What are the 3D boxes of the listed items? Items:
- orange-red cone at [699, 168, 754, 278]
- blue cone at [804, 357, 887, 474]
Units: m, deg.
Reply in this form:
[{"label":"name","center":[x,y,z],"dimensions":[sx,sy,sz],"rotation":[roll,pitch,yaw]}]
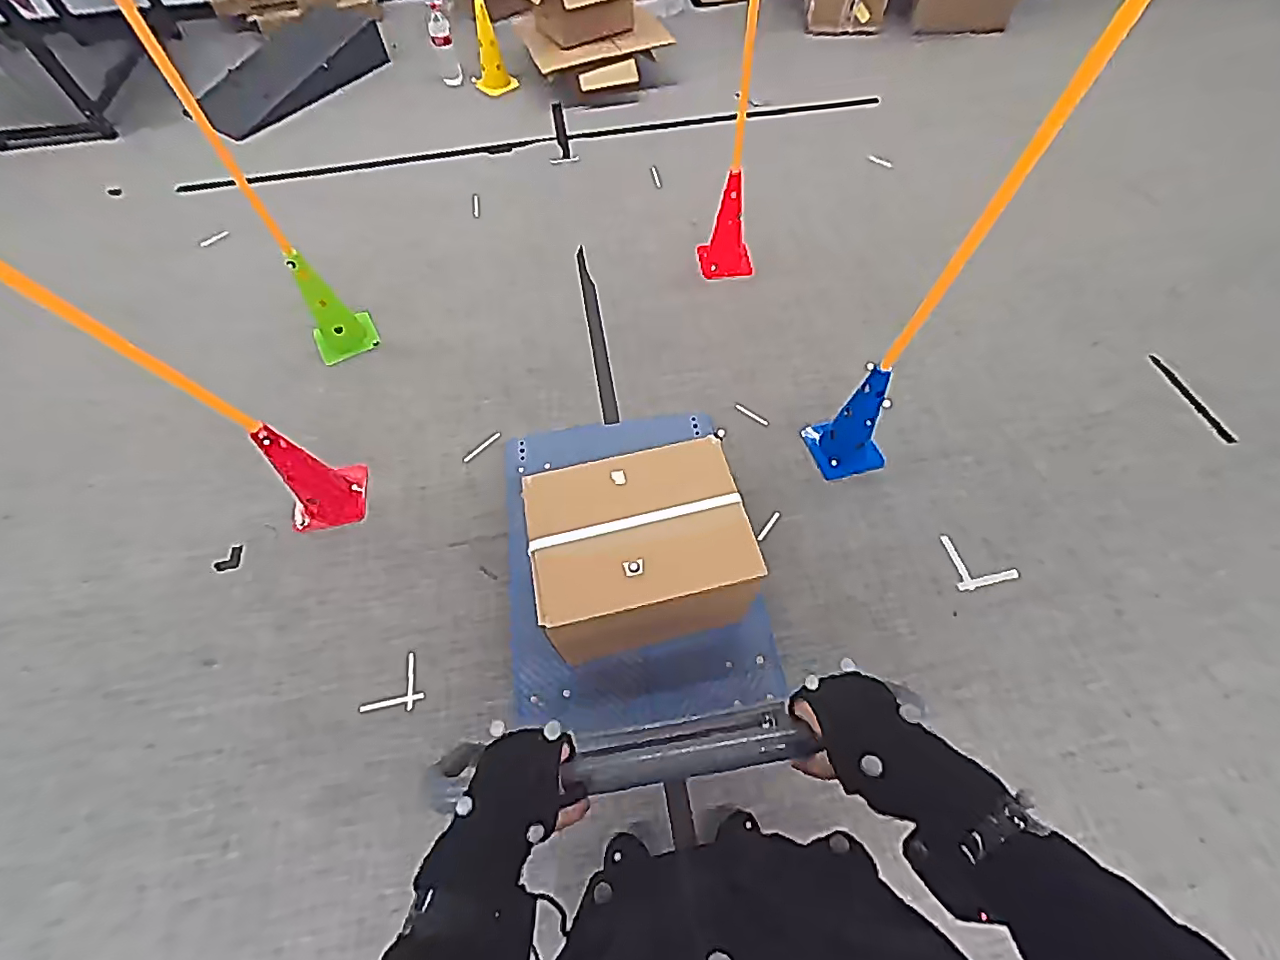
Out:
[{"label":"orange-red cone","center":[0.331,-0.941,1.950],"dimensions":[0.199,0.360,0.198],"rotation":[-3,60,-2]},{"label":"blue cone","center":[0.615,-0.192,1.517],"dimensions":[0.193,0.380,0.192],"rotation":[-13,59,-6]}]
